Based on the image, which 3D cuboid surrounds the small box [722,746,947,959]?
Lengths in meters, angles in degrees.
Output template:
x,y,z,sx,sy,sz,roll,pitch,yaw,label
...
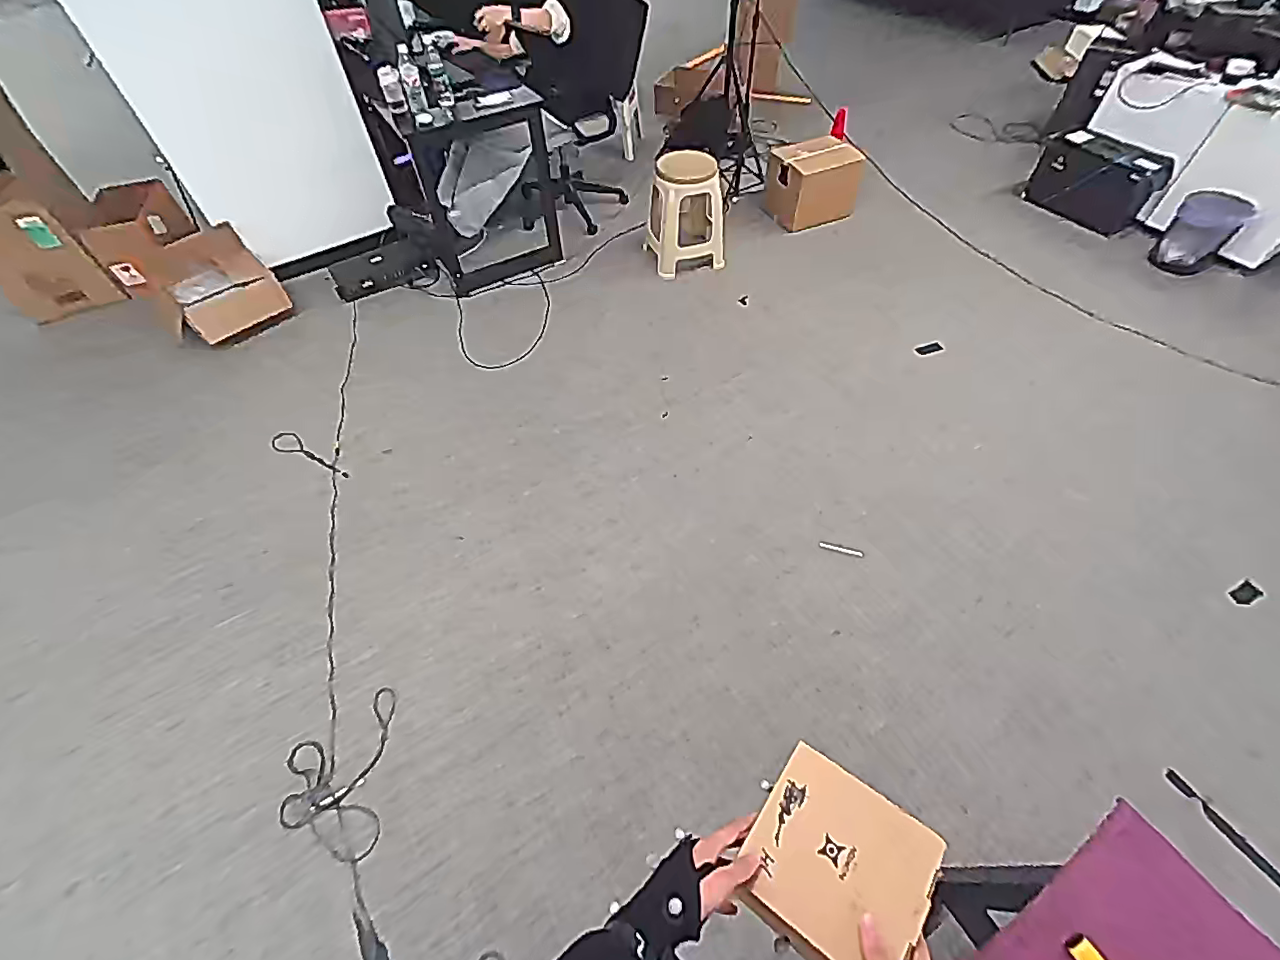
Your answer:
x,y,z,sx,sy,sz,roll,pitch,yaw,label
0.213,0.454,0.632,0.179,0.176,0.168,30,58,25,small box
